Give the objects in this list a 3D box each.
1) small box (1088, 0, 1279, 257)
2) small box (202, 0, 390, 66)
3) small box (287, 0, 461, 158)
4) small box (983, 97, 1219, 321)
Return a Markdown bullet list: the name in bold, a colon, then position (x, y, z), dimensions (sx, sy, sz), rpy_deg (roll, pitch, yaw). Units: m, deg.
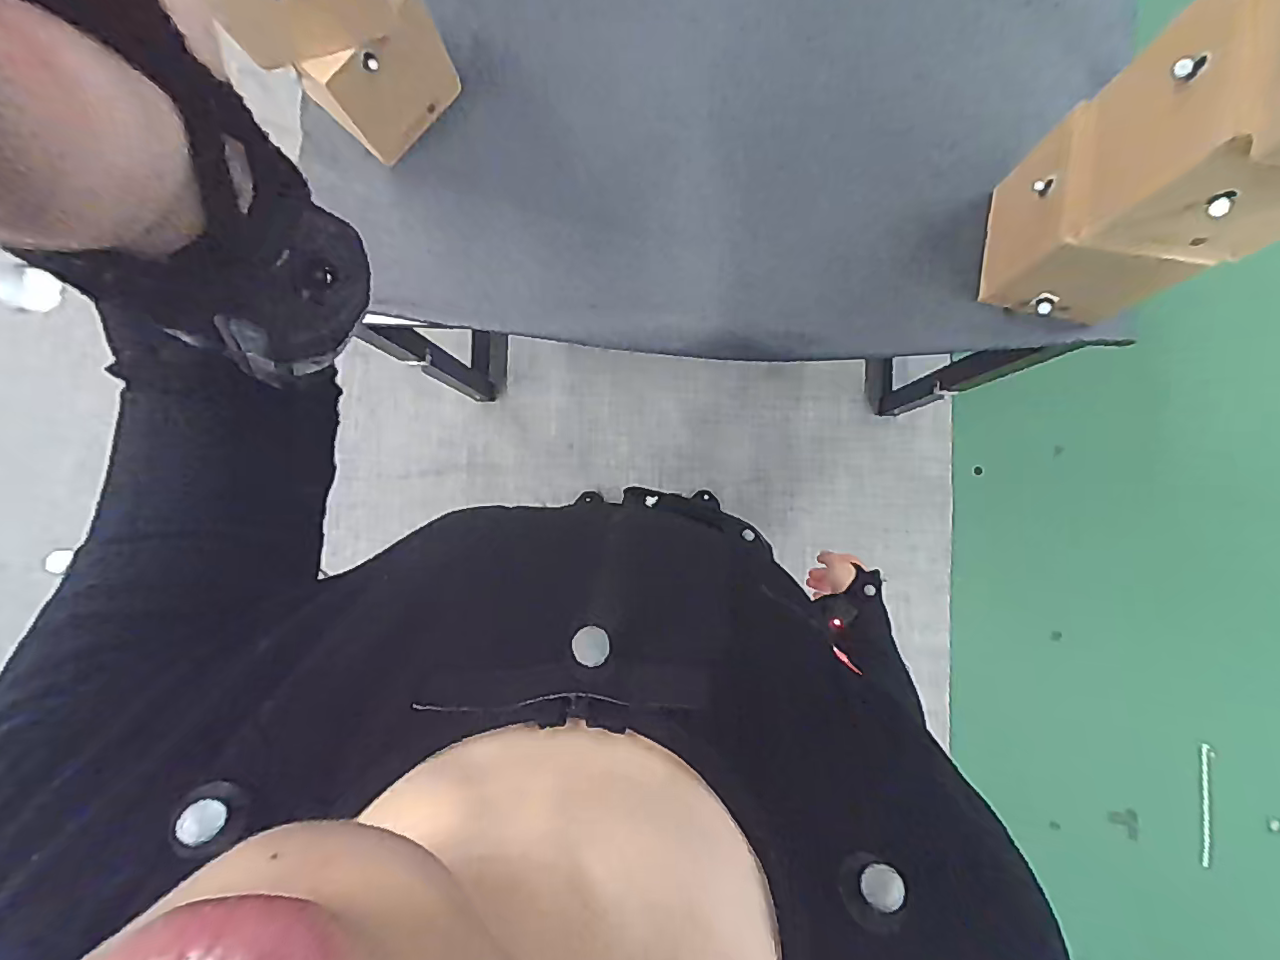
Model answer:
- **small box**: position (0.572, -0.338, 0.513), dimensions (0.168, 0.176, 0.179), rpy_deg (9, 84, 4)
- **small box**: position (-0.385, -0.587, 0.560), dimensions (0.179, 0.176, 0.168), rpy_deg (-16, 88, 2)
- **small box**: position (-0.379, -0.586, 0.725), dimensions (0.179, 0.176, 0.168), rpy_deg (43, 90, 3)
- **small box**: position (0.564, -0.324, 0.675), dimensions (0.168, 0.176, 0.179), rpy_deg (11, 86, 4)
